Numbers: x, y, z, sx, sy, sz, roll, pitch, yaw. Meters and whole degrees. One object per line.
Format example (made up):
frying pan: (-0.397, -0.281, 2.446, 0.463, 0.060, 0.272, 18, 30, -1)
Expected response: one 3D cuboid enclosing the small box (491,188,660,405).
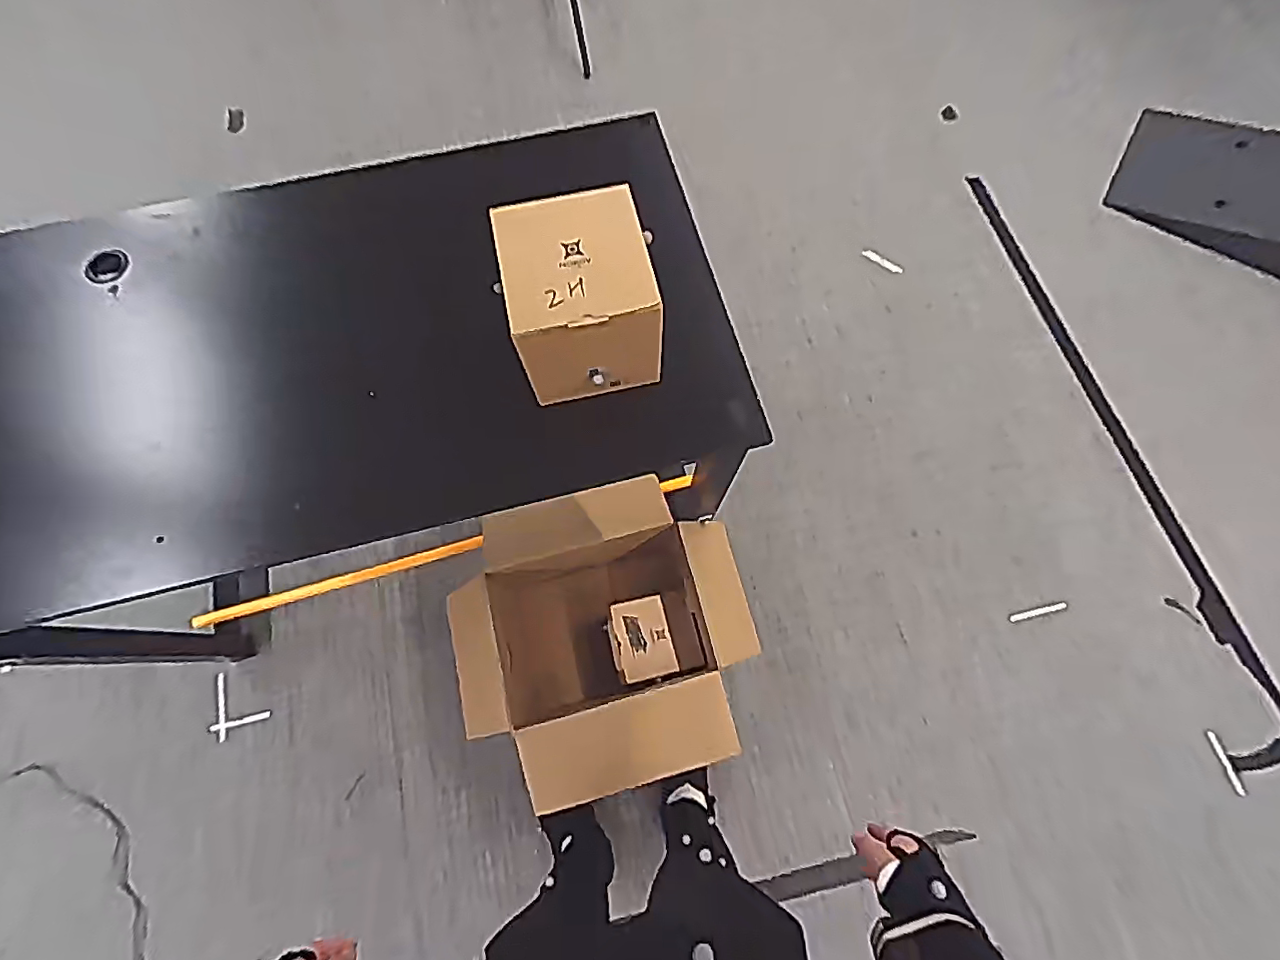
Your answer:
small box: (-0.075, -0.219, 0.672, 0.168, 0.176, 0.179, -12, 72, -3)
